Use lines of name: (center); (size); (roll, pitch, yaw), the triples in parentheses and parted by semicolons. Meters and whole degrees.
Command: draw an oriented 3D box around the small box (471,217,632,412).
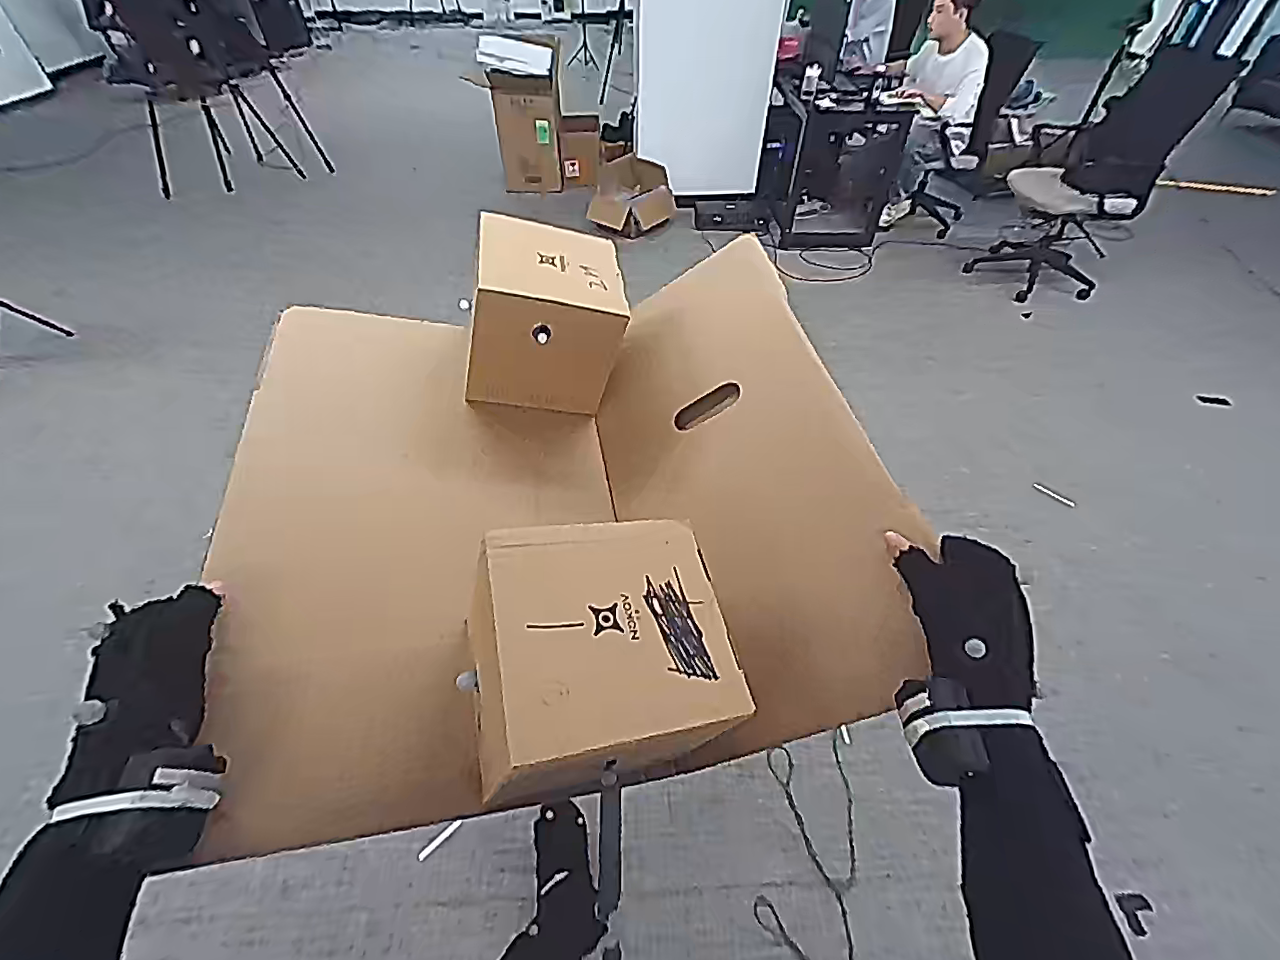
small box: (-0.125, -0.209, 0.715); (0.179, 0.176, 0.168); (6, 51, -20)
